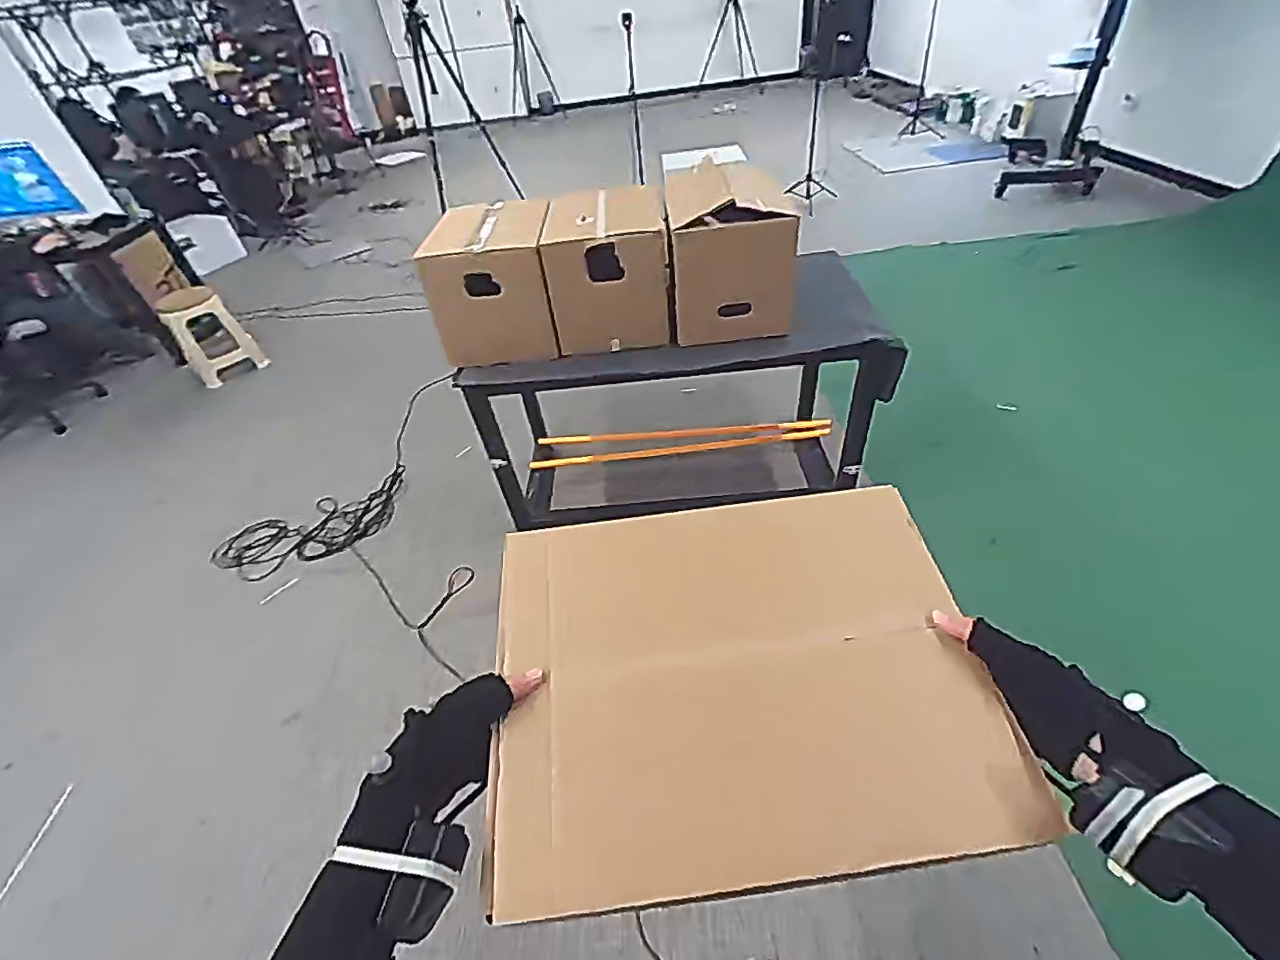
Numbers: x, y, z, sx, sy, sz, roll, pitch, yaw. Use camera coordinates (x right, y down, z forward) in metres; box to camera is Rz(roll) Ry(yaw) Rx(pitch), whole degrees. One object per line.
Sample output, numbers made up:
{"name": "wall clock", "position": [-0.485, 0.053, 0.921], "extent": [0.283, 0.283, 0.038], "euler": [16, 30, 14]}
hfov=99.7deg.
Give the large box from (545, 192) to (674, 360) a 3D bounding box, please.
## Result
{"name": "large box", "position": [-0.078, -0.596, 1.563], "extent": [0.320, 0.320, 0.408], "euler": [-6, 43, 3]}
